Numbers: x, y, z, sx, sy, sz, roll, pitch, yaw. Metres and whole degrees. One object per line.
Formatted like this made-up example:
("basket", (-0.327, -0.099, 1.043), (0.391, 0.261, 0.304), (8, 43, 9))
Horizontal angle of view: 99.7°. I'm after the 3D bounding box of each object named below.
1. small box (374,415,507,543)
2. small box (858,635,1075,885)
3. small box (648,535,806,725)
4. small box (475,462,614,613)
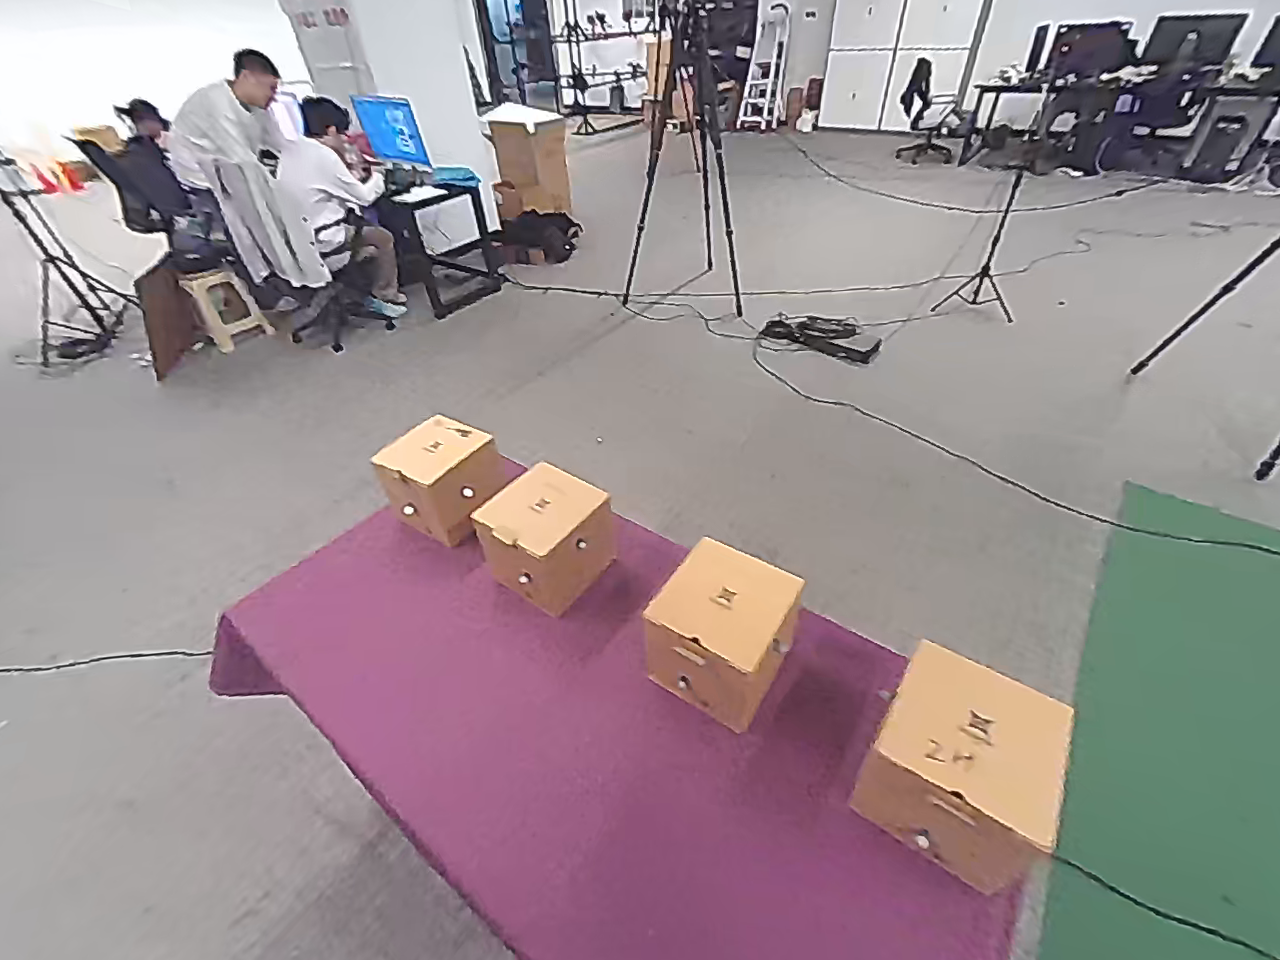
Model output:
("small box", (-0.395, -0.001, 1.109), (0.168, 0.176, 0.179), (21, 48, 25))
("small box", (0.381, 0.332, 0.651), (0.168, 0.176, 0.179), (23, 49, 30))
("small box", (0.127, 0.222, 0.808), (0.168, 0.176, 0.179), (22, 48, 27))
("small box", (-0.159, 0.103, 0.970), (0.168, 0.176, 0.179), (25, 49, 28))
